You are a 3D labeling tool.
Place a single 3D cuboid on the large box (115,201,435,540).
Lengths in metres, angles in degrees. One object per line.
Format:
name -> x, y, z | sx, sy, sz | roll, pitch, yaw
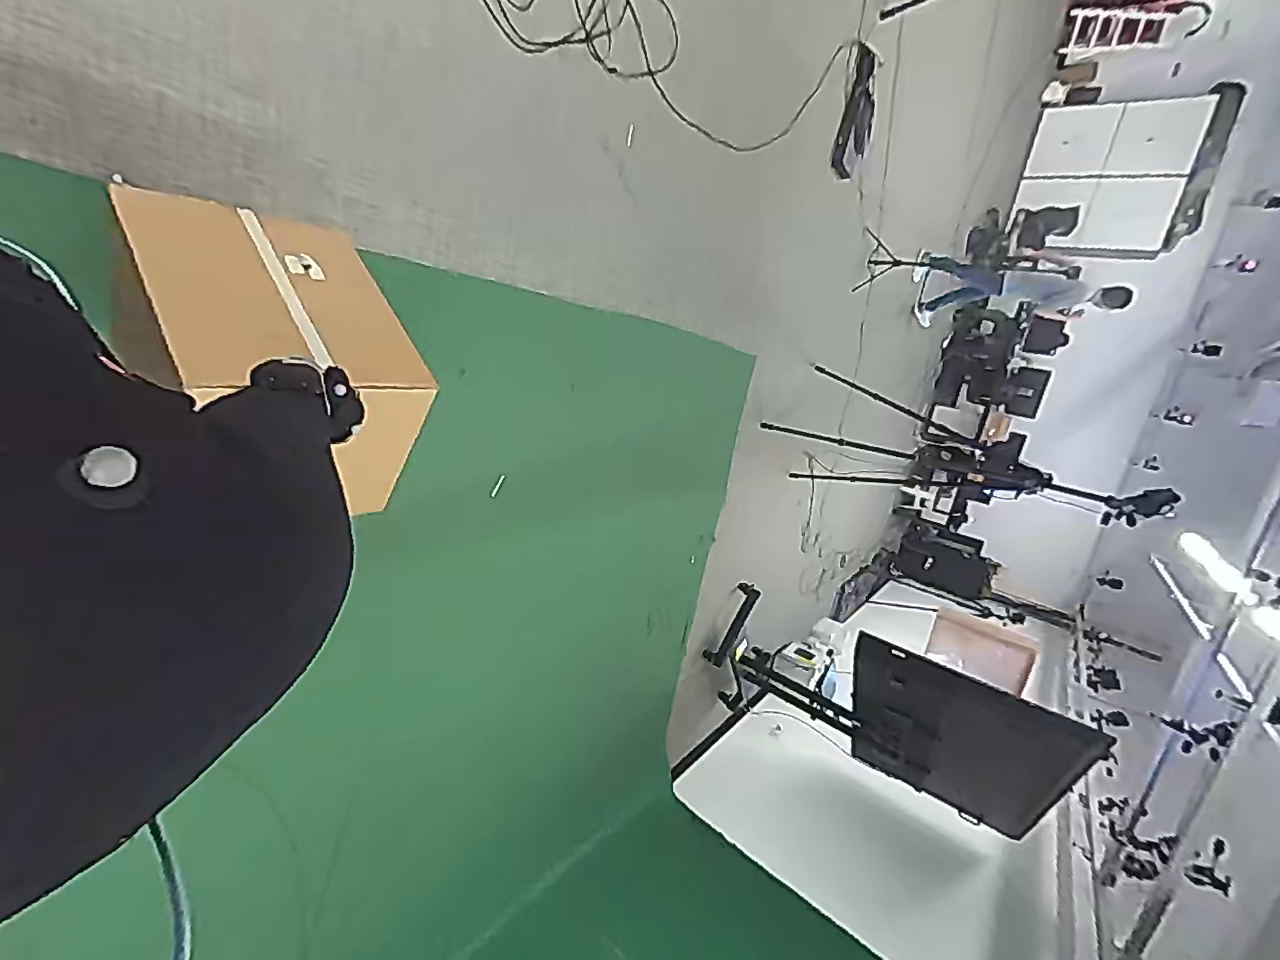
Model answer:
large box -> -0.607, -0.171, 0.892 | 0.320, 0.408, 0.320 | -11, 147, -50
